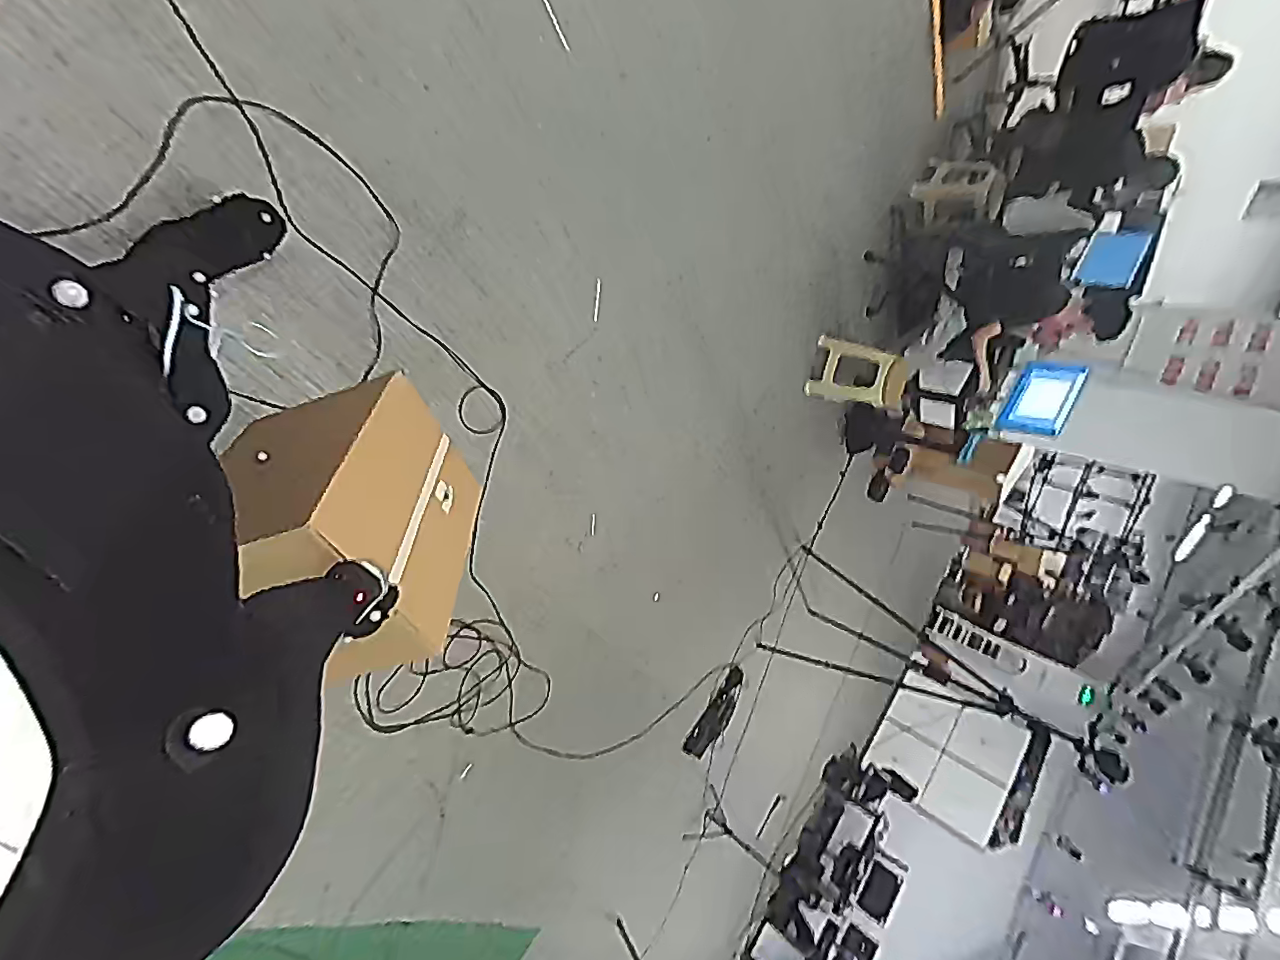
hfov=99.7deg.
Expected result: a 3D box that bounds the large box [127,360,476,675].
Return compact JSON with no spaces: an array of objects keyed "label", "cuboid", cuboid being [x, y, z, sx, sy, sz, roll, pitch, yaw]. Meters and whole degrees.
[{"label":"large box","cuboid":[-0.528,0.060,0.945,0.320,0.408,0.320,-16,129,8]}]
